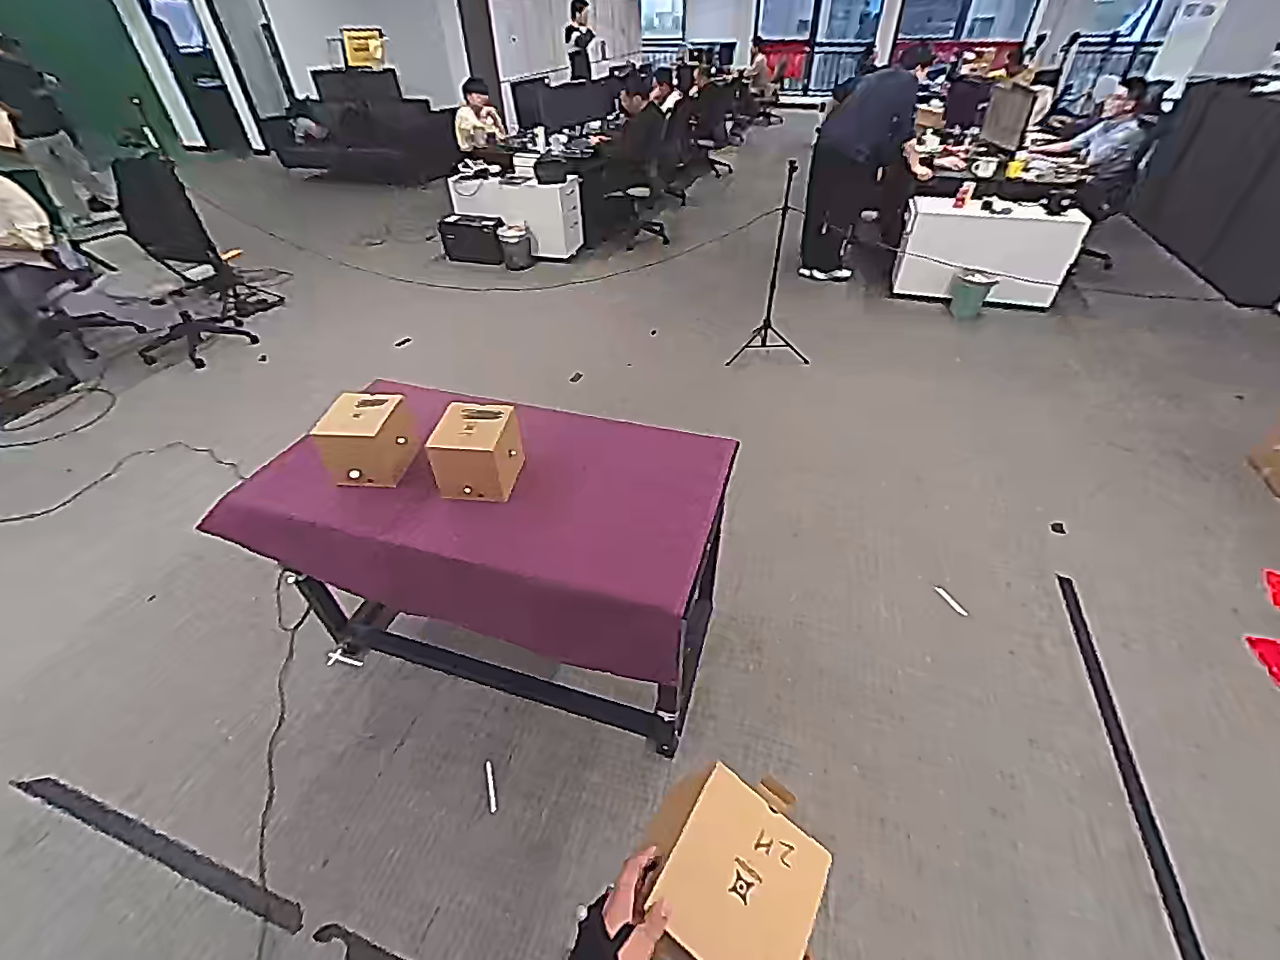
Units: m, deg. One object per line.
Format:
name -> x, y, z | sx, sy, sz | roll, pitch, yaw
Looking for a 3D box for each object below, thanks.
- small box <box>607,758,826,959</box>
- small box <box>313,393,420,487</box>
small box -> 0.079, 0.471, 0.630 | 0.168, 0.176, 0.179 | 37, 46, 9
small box -> -0.689, -0.105, 1.391 | 0.168, 0.176, 0.179 | 2, 42, 4
